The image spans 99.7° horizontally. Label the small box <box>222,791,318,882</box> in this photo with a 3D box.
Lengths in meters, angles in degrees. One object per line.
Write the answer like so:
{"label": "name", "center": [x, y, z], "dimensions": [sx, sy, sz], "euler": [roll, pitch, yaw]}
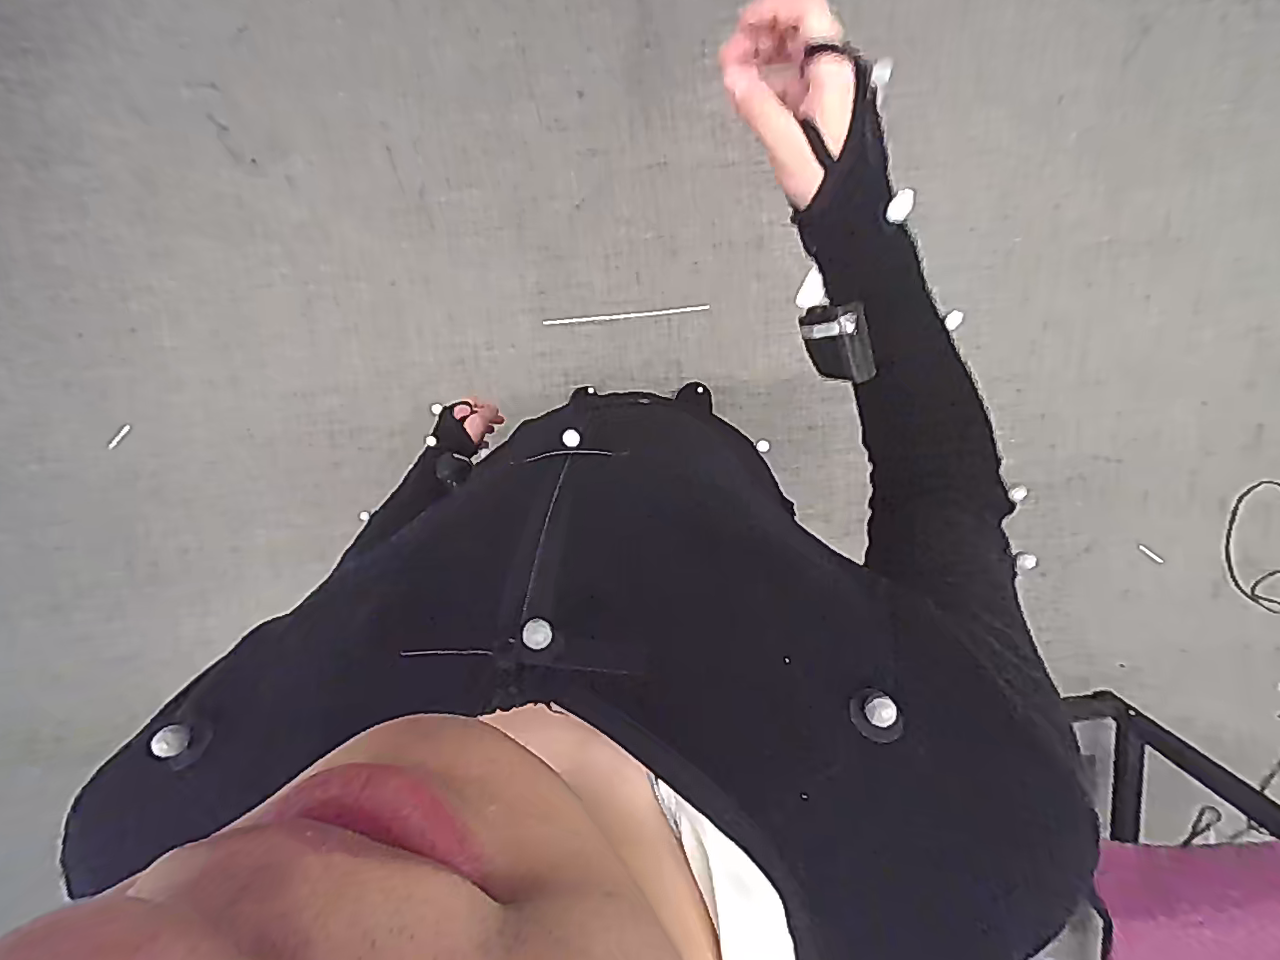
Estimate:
{"label": "small box", "center": [-1.157, 1.116, 1.702], "dimensions": [0.179, 0.176, 0.168], "euler": [-6, 100, -1]}
